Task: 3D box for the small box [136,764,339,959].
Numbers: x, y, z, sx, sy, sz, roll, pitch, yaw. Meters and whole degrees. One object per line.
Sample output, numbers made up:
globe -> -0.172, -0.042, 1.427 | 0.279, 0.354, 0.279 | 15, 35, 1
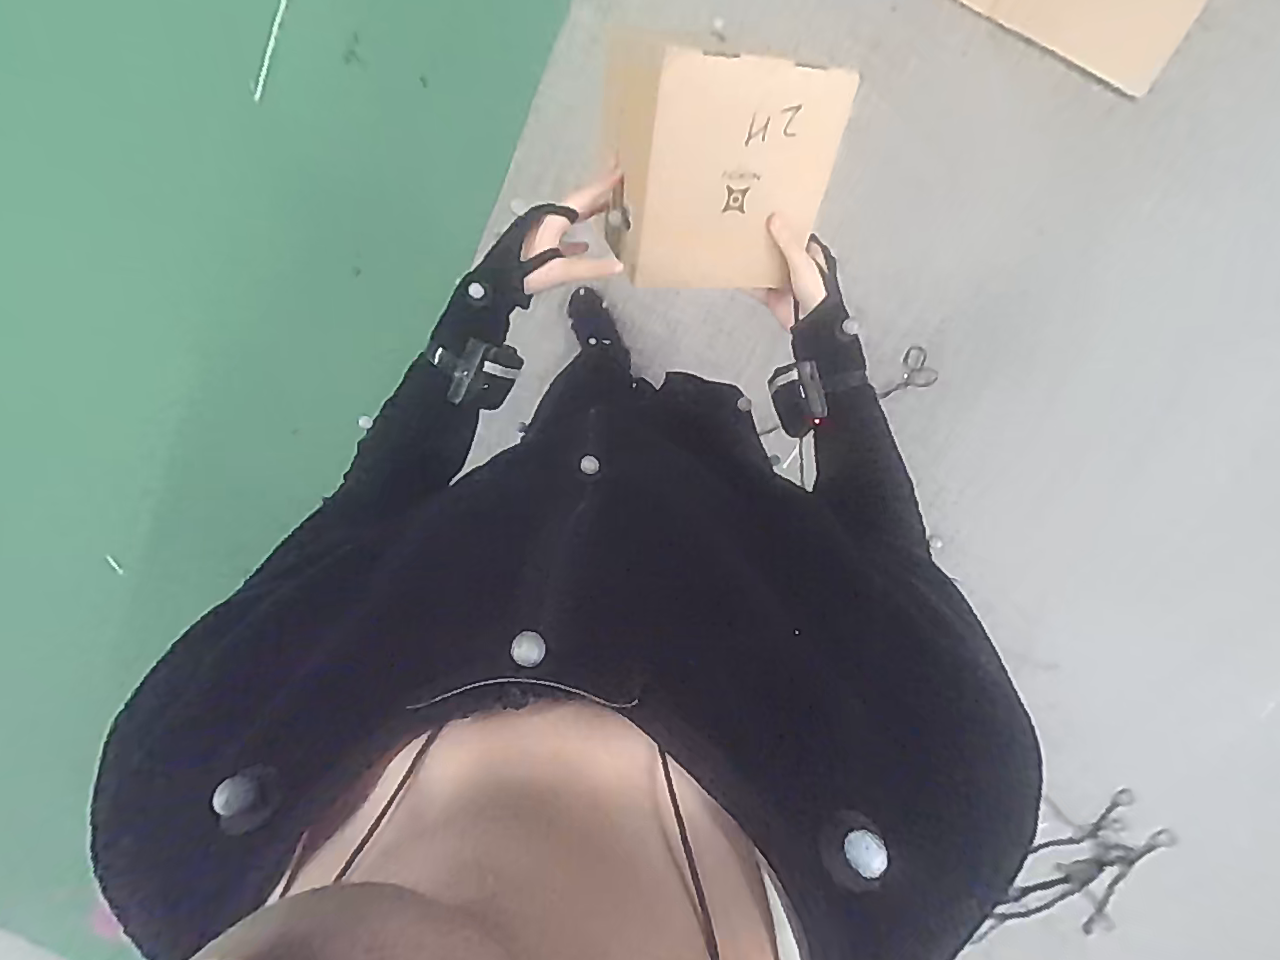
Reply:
small box -> -0.619, 0.598, 0.855 | 0.168, 0.176, 0.179 | 34, 103, -4
